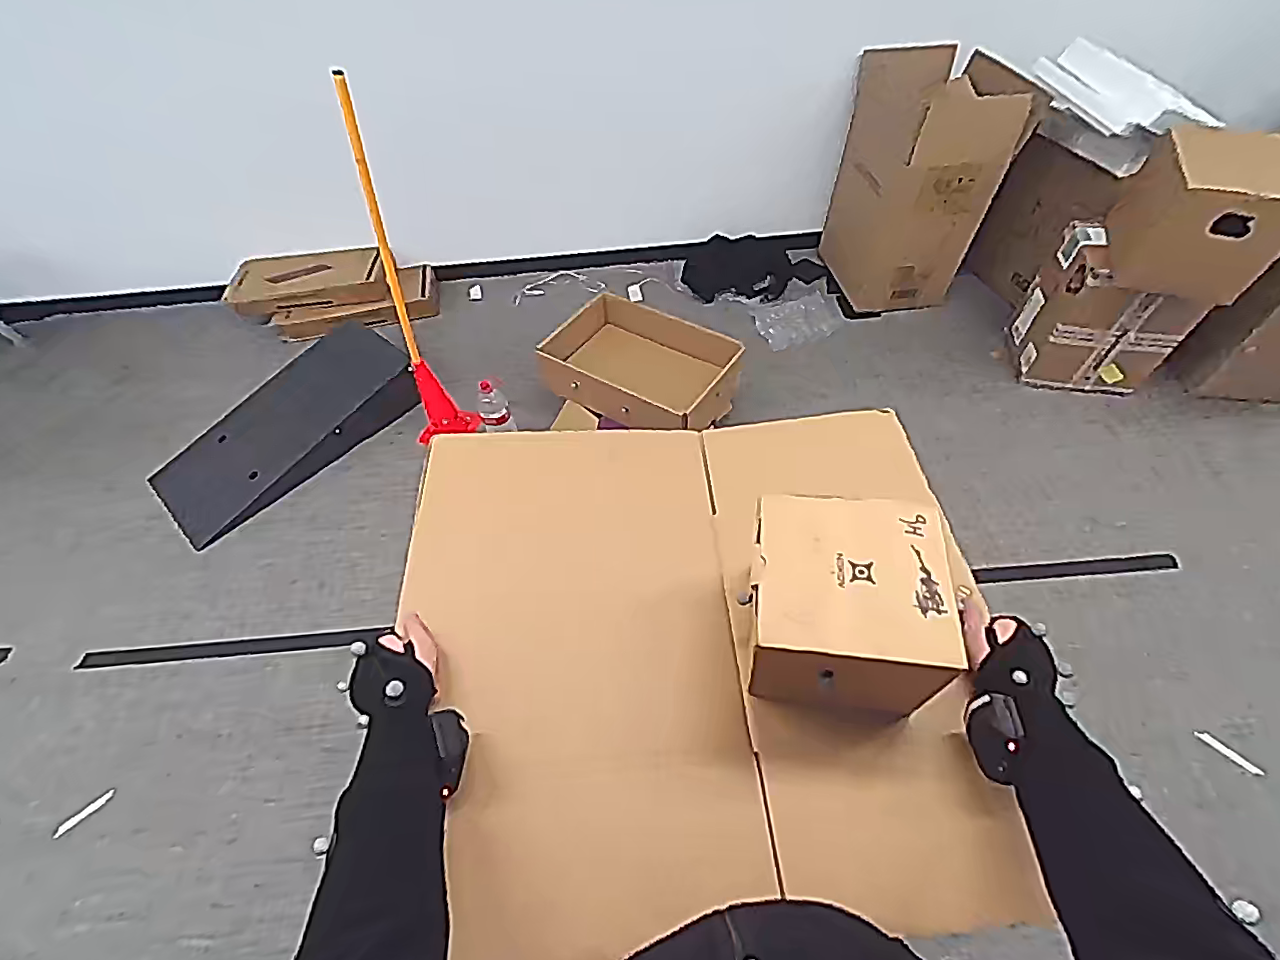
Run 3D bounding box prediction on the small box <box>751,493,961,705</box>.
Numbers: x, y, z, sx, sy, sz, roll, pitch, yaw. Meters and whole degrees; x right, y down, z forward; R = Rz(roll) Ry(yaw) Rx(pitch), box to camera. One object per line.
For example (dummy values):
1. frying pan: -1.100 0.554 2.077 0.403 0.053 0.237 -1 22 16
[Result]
1. small box: 0.213 0.131 0.582 0.179 0.176 0.168 3 55 12
